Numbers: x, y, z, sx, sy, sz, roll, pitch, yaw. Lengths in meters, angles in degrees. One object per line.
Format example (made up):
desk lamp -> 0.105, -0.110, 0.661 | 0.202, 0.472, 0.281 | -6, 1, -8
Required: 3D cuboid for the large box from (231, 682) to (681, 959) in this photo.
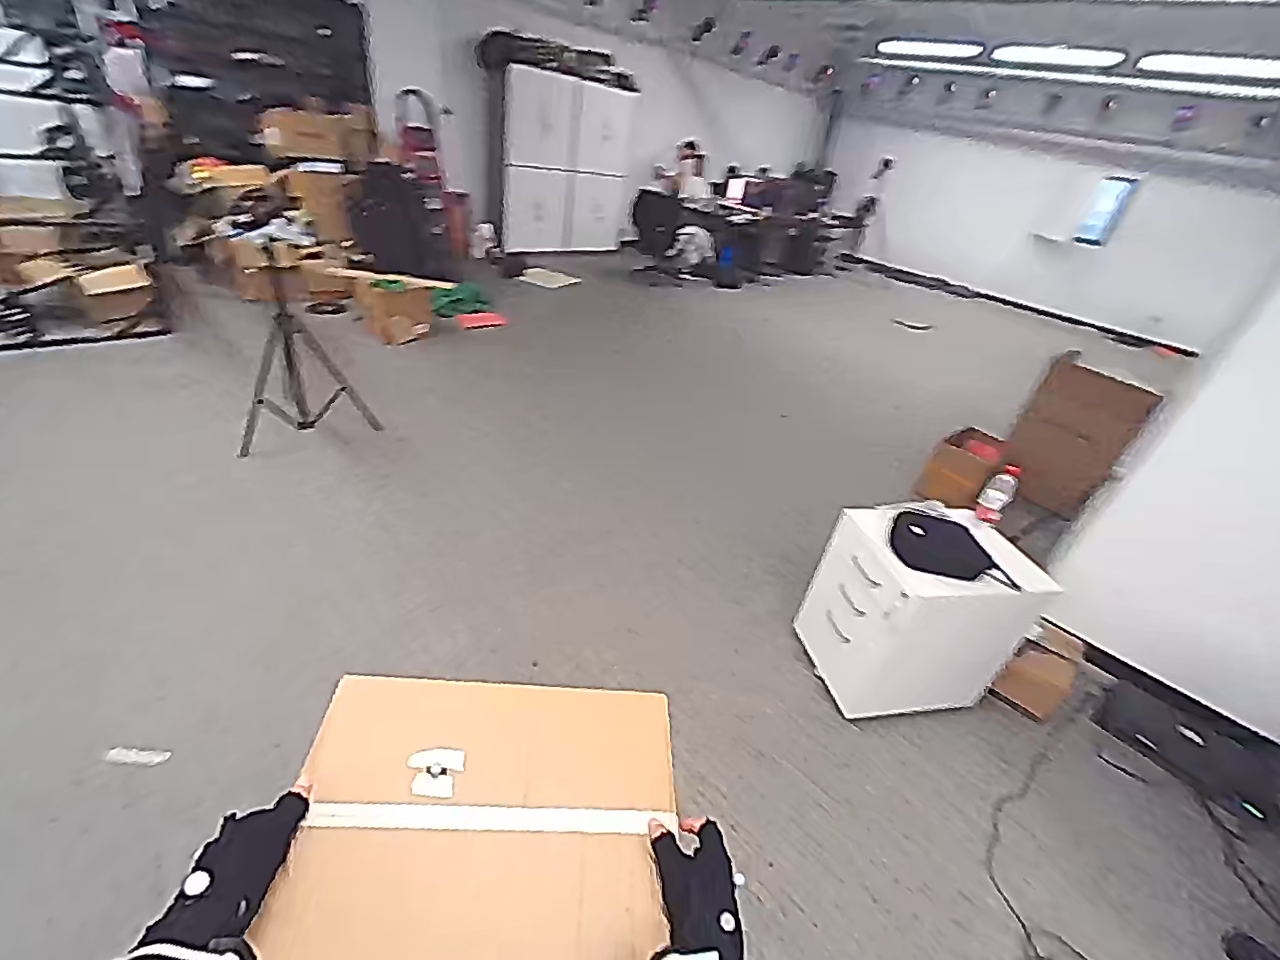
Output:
large box -> -0.187, 0.472, 0.669 | 0.408, 0.320, 0.320 | 5, 39, -9
